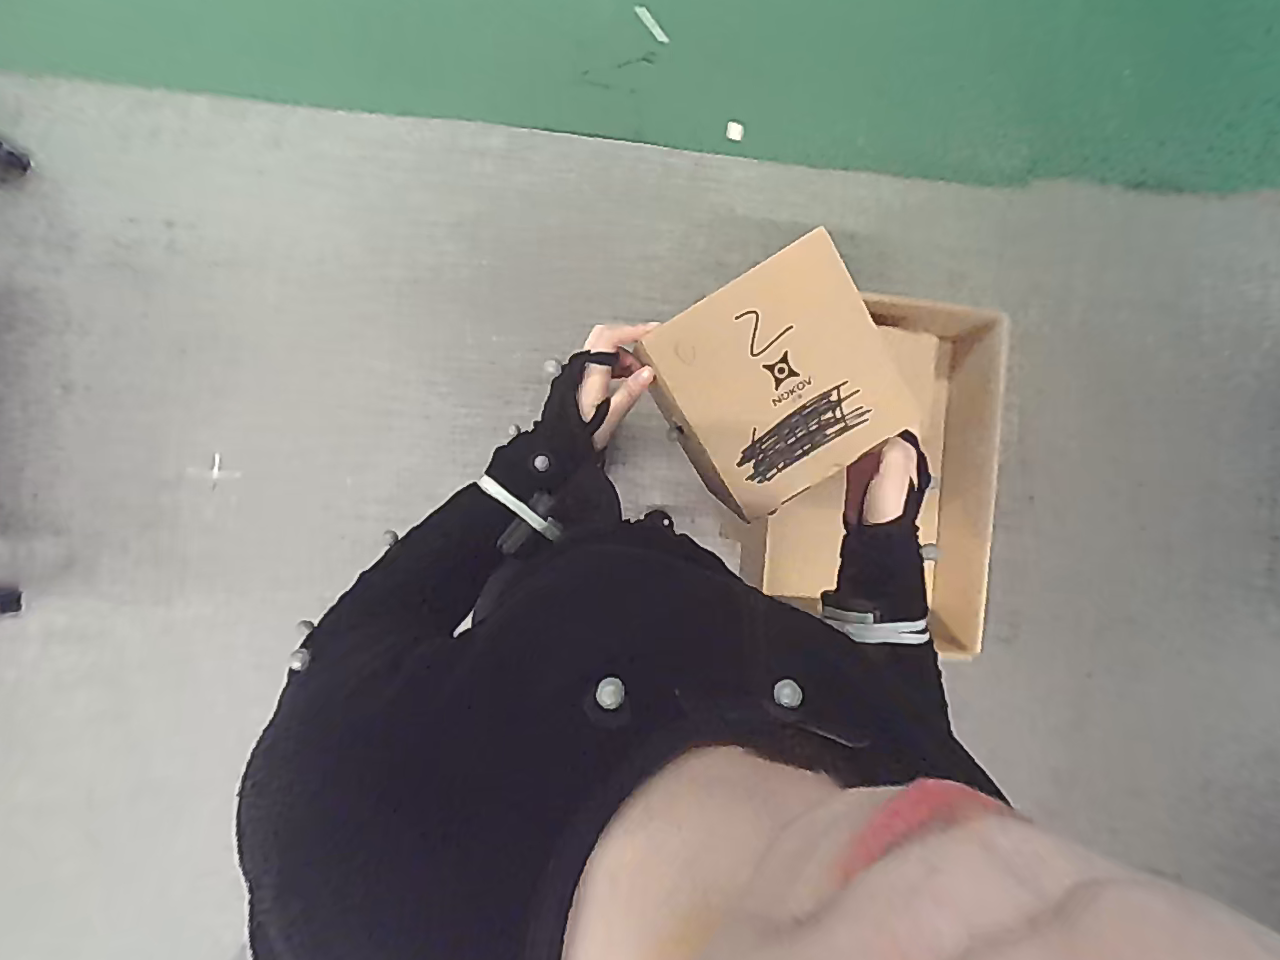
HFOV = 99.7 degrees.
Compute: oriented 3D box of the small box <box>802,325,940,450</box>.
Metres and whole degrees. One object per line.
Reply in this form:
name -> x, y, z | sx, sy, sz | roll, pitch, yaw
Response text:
small box -> 0.405, -0.157, 0.973 | 0.168, 0.176, 0.179 | 7, 87, -3
